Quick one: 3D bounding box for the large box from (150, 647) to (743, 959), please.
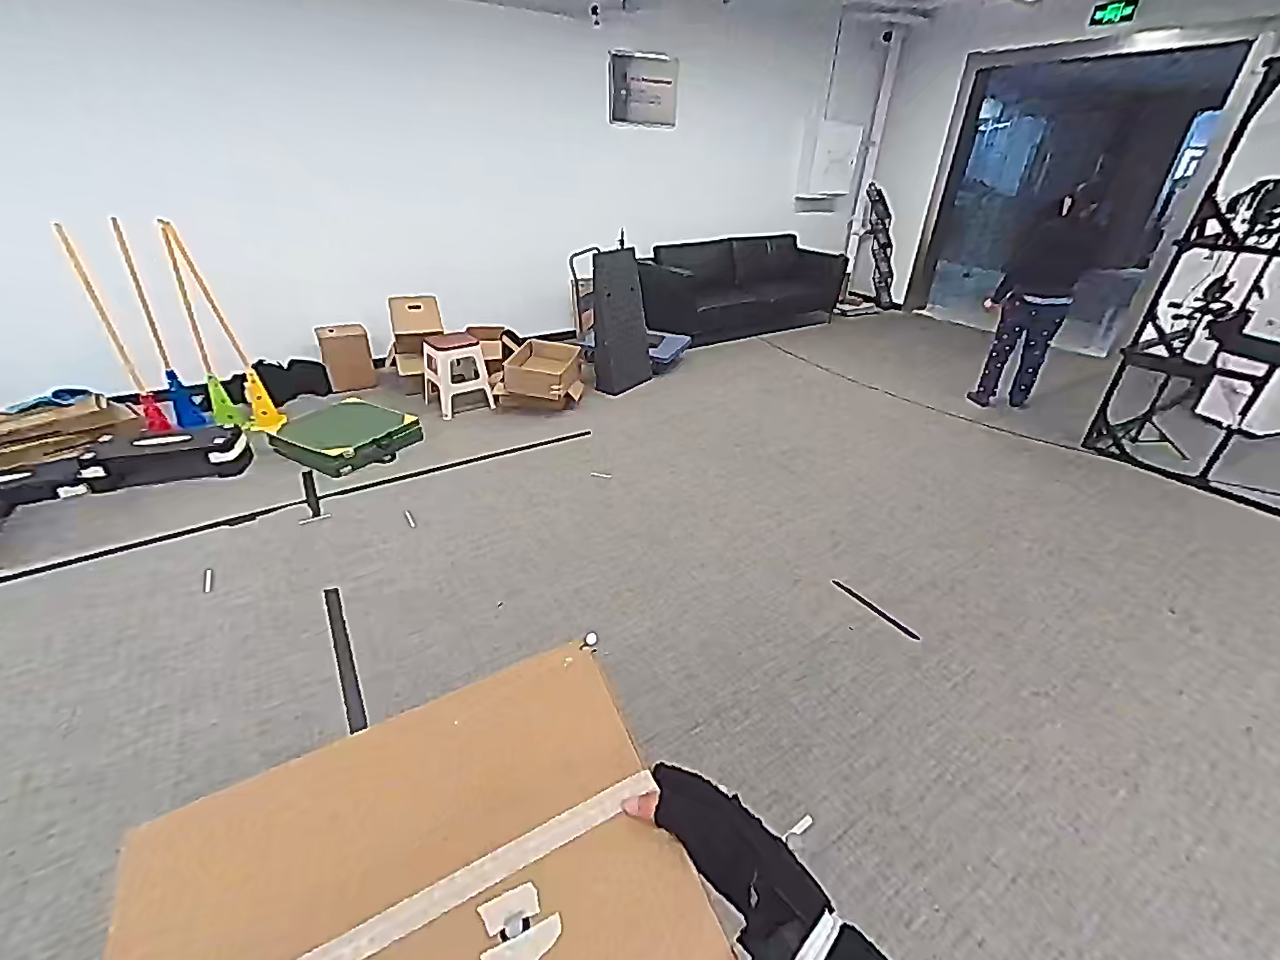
[{"bbox_3d":[-0.165,0.443,0.533,0.408,0.320,0.320,-18,49,-19],"label":"large box"}]
